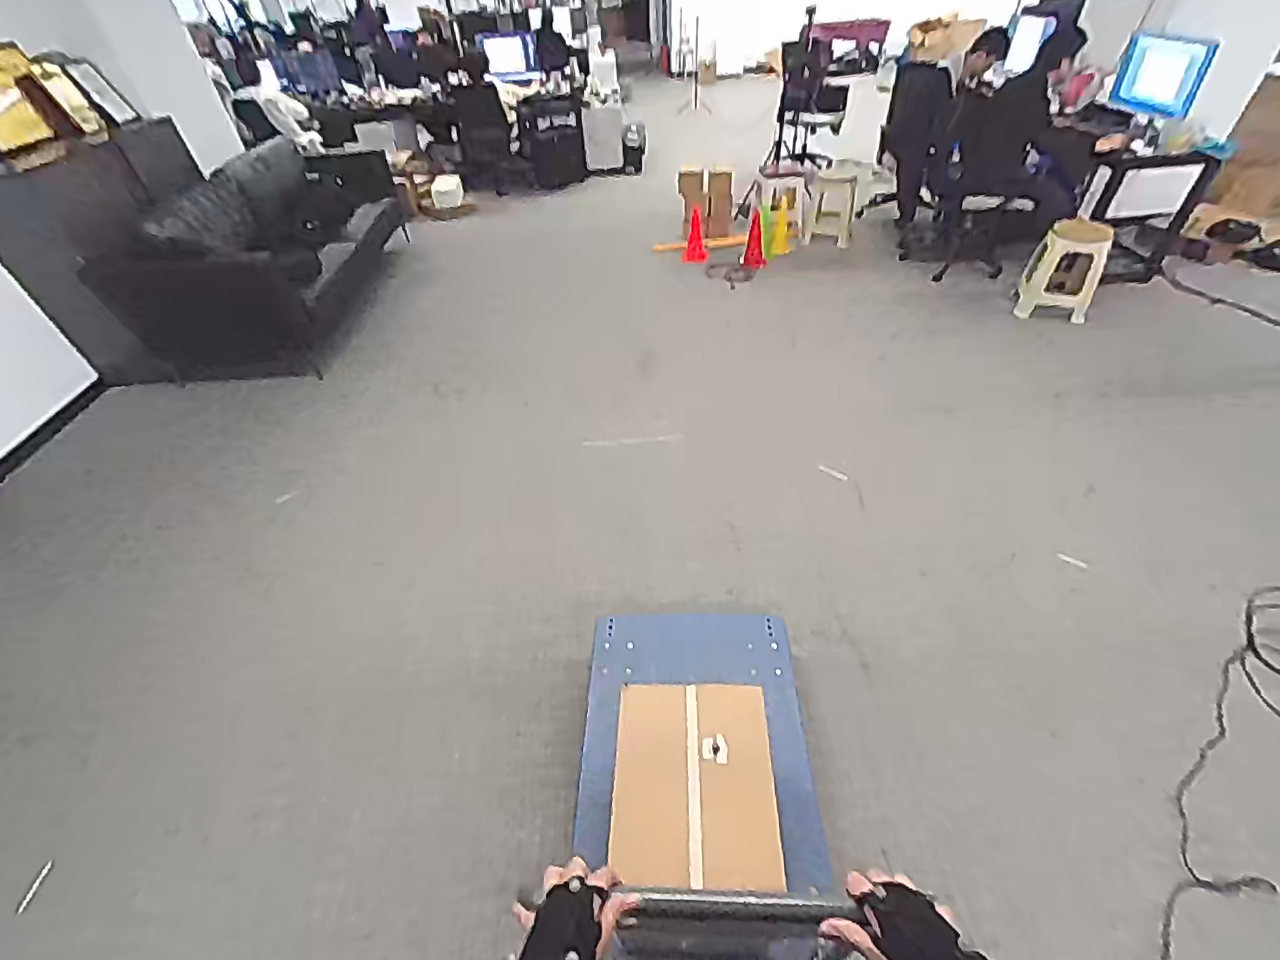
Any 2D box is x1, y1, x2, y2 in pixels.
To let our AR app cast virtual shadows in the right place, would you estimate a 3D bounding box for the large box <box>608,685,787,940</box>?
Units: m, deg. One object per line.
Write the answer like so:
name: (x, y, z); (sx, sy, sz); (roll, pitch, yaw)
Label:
large box: (0.113, 0.708, 1.164); (0.320, 0.320, 0.408); (-1, 41, 4)
